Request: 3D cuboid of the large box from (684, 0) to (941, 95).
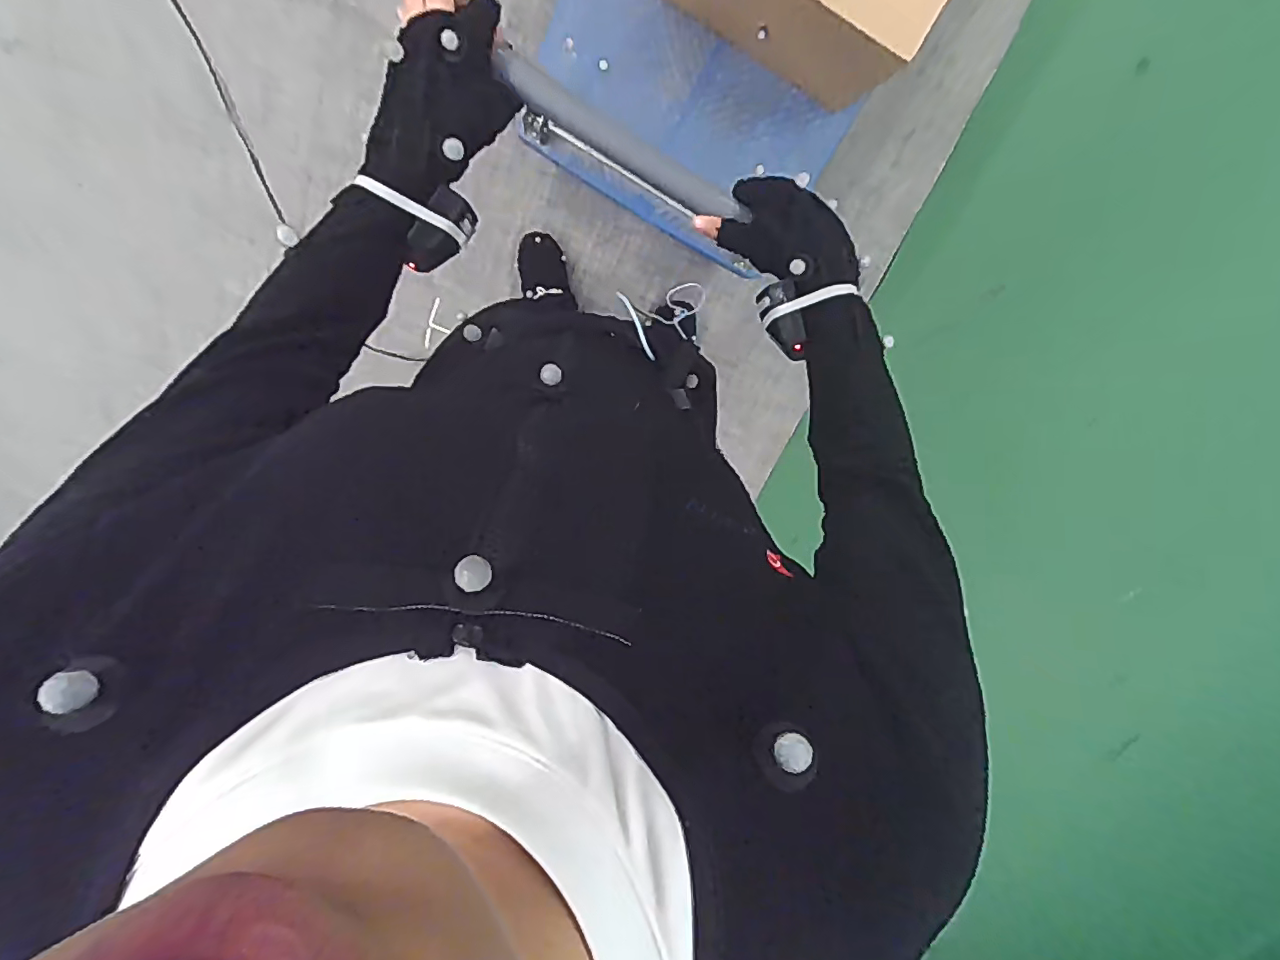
[{"bbox_3d":[0.278,-0.872,0.815,0.408,0.320,0.320,25,112,-9],"label":"large box"}]
